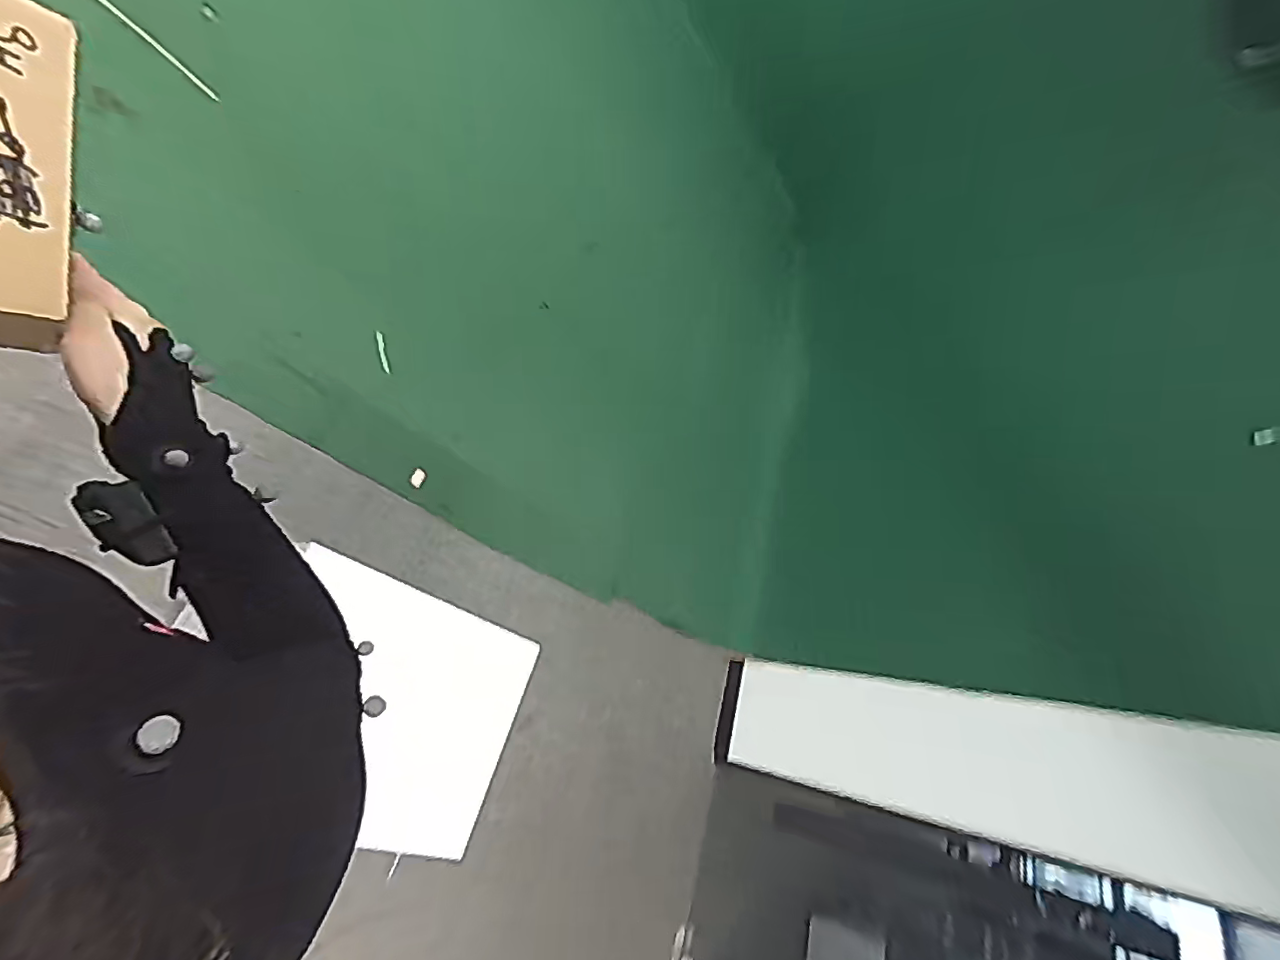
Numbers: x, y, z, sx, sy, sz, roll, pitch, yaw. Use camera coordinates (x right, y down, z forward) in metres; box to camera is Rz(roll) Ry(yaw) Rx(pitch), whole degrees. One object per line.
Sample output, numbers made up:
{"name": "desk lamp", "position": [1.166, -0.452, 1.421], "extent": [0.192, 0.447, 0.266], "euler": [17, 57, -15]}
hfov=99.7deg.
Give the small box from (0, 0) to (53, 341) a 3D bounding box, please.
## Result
{"name": "small box", "position": [-0.437, -0.175, 0.280], "extent": [0.179, 0.176, 0.168], "euler": [1, 93, -47]}
